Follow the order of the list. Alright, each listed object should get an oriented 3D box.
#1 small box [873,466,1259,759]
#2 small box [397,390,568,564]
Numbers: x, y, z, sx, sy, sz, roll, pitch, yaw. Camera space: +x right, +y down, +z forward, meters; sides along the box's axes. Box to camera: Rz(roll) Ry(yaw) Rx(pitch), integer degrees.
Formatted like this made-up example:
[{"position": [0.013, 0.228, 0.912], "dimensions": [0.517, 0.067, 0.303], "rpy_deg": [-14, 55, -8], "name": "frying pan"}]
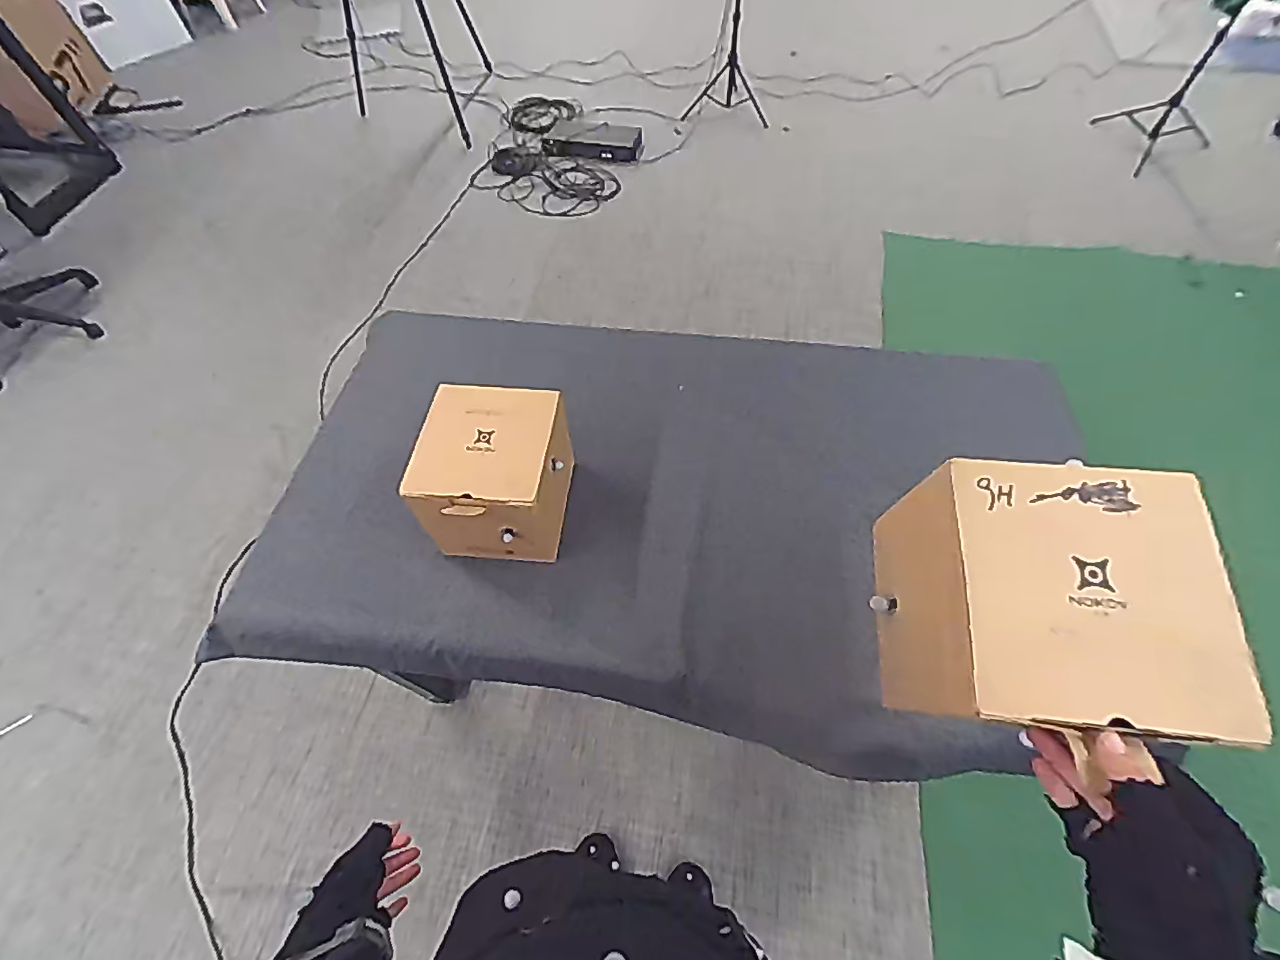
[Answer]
[{"position": [0.297, 0.104, 0.428], "dimensions": [0.168, 0.176, 0.179], "rpy_deg": [5, 70, 5], "name": "small box"}, {"position": [-0.196, 0.001, 0.738], "dimensions": [0.168, 0.176, 0.179], "rpy_deg": [4, 56, 2], "name": "small box"}]
